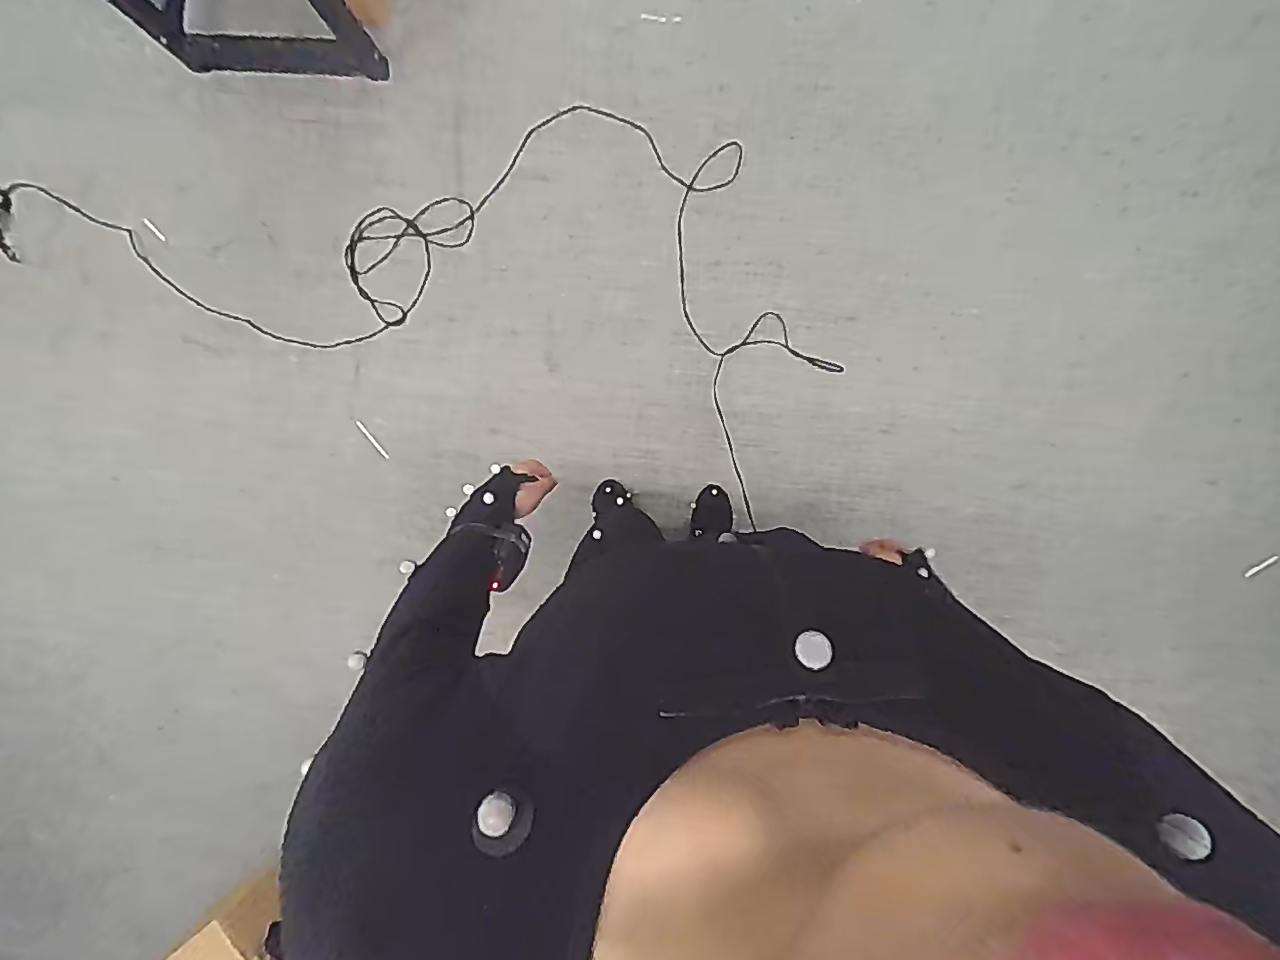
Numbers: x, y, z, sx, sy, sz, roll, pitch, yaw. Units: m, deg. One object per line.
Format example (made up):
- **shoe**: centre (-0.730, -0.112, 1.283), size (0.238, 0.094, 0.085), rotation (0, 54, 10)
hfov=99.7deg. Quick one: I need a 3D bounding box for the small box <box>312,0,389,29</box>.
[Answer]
- **small box**: centre (-0.775, -1.338, 1.419), size (0.179, 0.176, 0.168), rotation (10, 92, 3)
